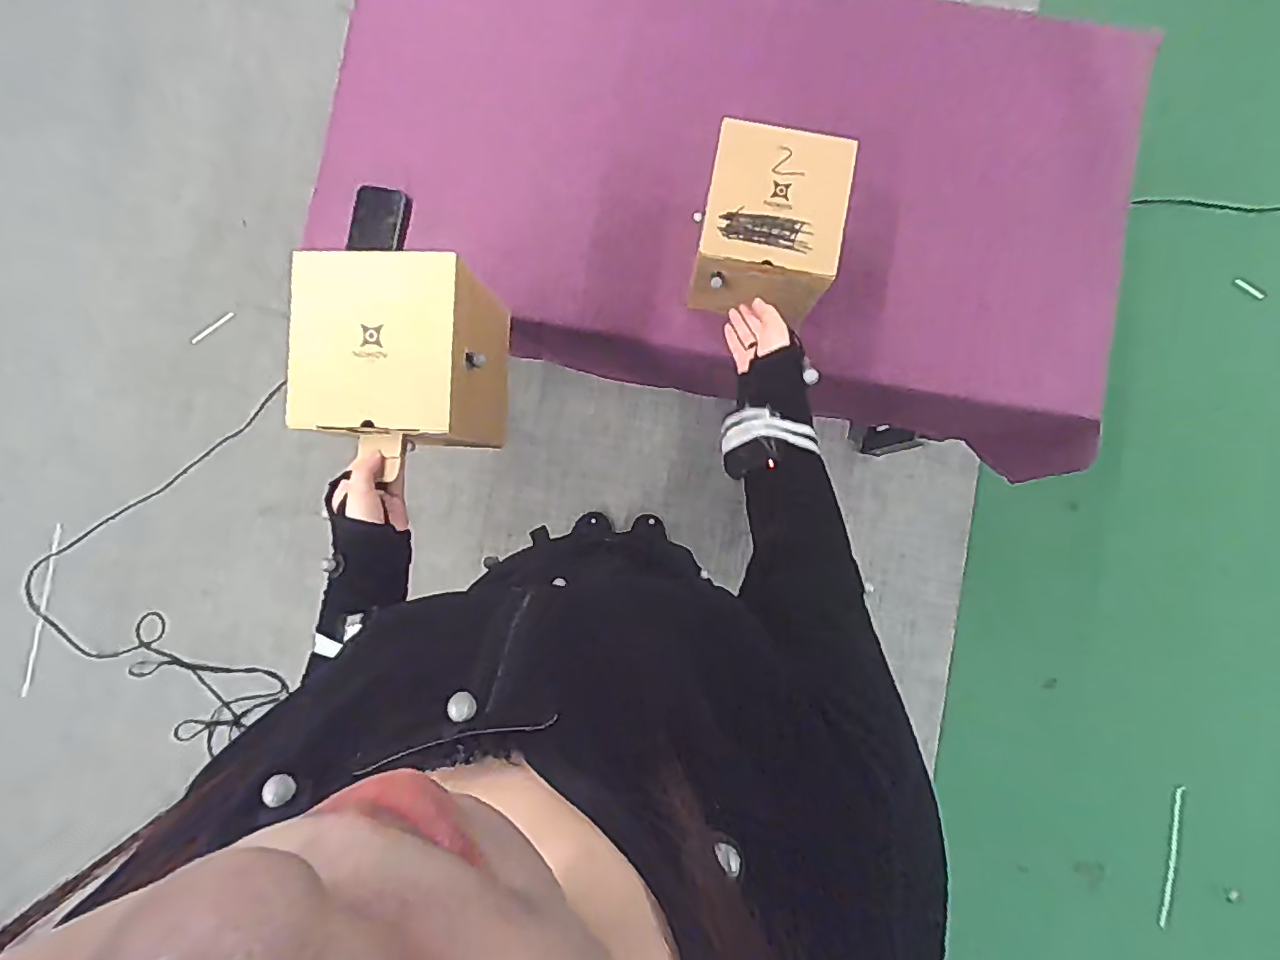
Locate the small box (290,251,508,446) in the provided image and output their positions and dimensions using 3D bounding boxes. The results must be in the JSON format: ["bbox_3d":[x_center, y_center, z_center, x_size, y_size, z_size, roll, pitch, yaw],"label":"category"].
[{"bbox_3d":[-0.254,-0.135,0.609,0.168,0.176,0.179,3,90,3],"label":"small box"}]
